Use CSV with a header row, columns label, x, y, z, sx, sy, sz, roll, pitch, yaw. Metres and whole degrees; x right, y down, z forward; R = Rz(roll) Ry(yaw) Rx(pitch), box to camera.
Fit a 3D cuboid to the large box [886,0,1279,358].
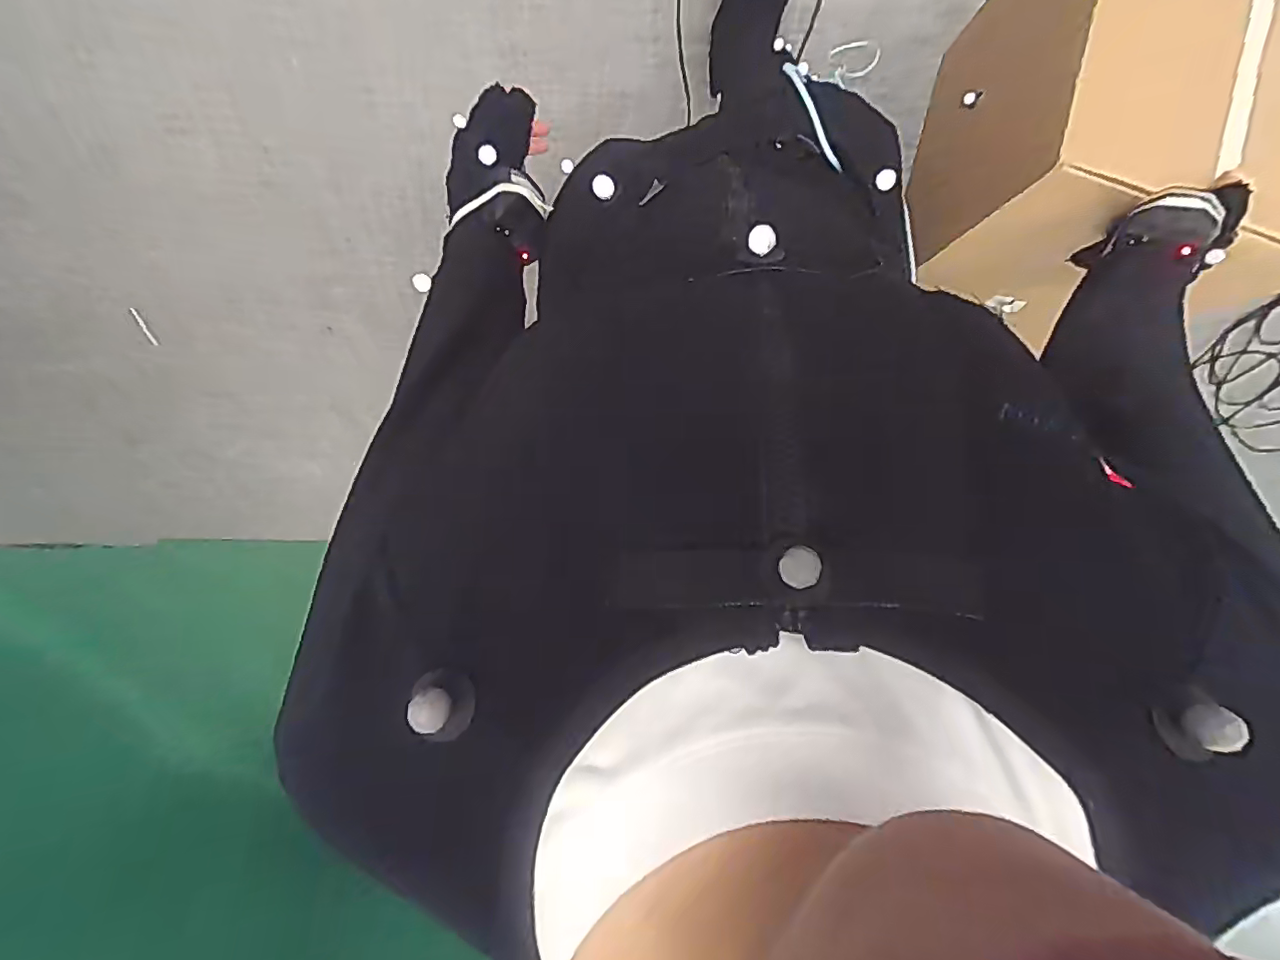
label,x,y,z,sx,sy,sz,roll,pitch,yaw
large box,0.566,-0.417,0.679,0.320,0.408,0.320,16,175,-5
